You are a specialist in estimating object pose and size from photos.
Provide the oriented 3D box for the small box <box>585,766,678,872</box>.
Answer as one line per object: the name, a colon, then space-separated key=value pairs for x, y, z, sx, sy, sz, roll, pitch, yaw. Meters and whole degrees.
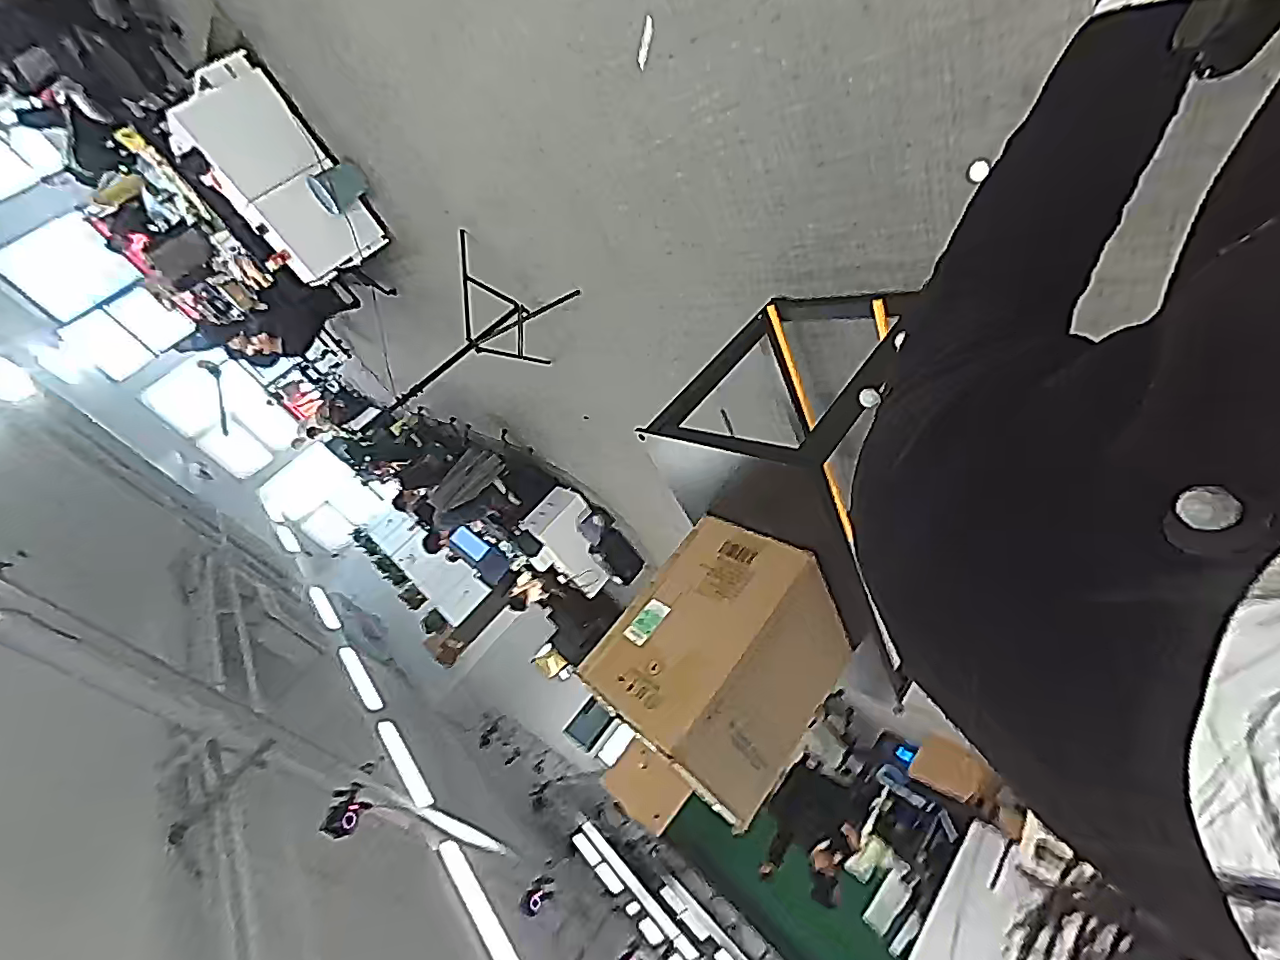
small box: x=-0.018 y=0.969 z=1.555 sx=0.168 sy=0.176 sz=0.179 roll=21 pitch=149 yaw=48
